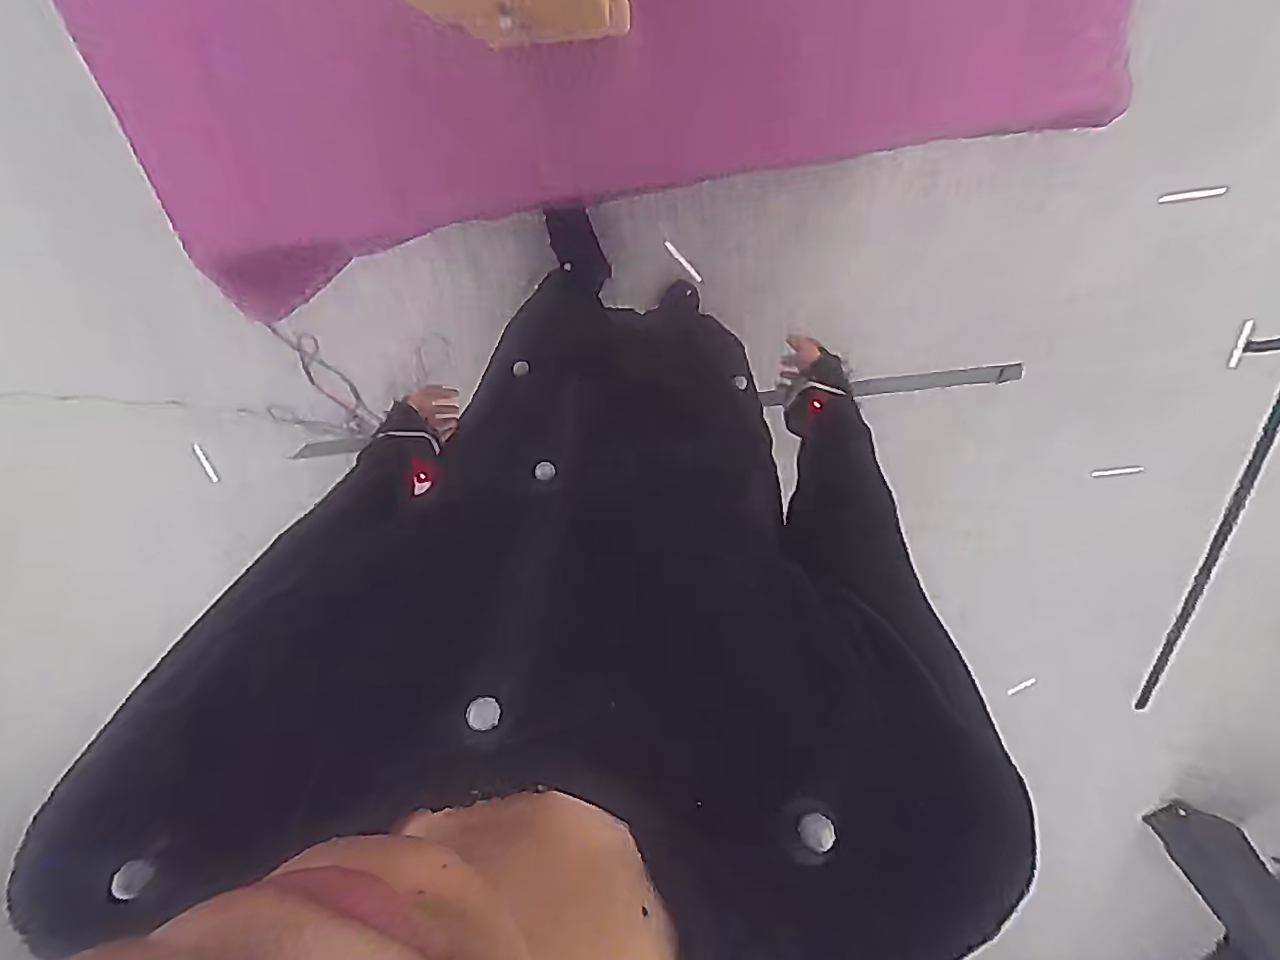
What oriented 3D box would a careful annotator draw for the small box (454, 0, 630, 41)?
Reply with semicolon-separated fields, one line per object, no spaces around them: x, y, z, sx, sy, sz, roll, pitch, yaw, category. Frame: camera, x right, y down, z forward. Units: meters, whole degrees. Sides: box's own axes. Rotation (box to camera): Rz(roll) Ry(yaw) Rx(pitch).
-0.100;-0.548;0.518;0.168;0.176;0.179;-4;119;3;small box

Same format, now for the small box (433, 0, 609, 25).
-0.107;-0.457;0.380;0.168;0.176;0.179;3;119;0;small box
